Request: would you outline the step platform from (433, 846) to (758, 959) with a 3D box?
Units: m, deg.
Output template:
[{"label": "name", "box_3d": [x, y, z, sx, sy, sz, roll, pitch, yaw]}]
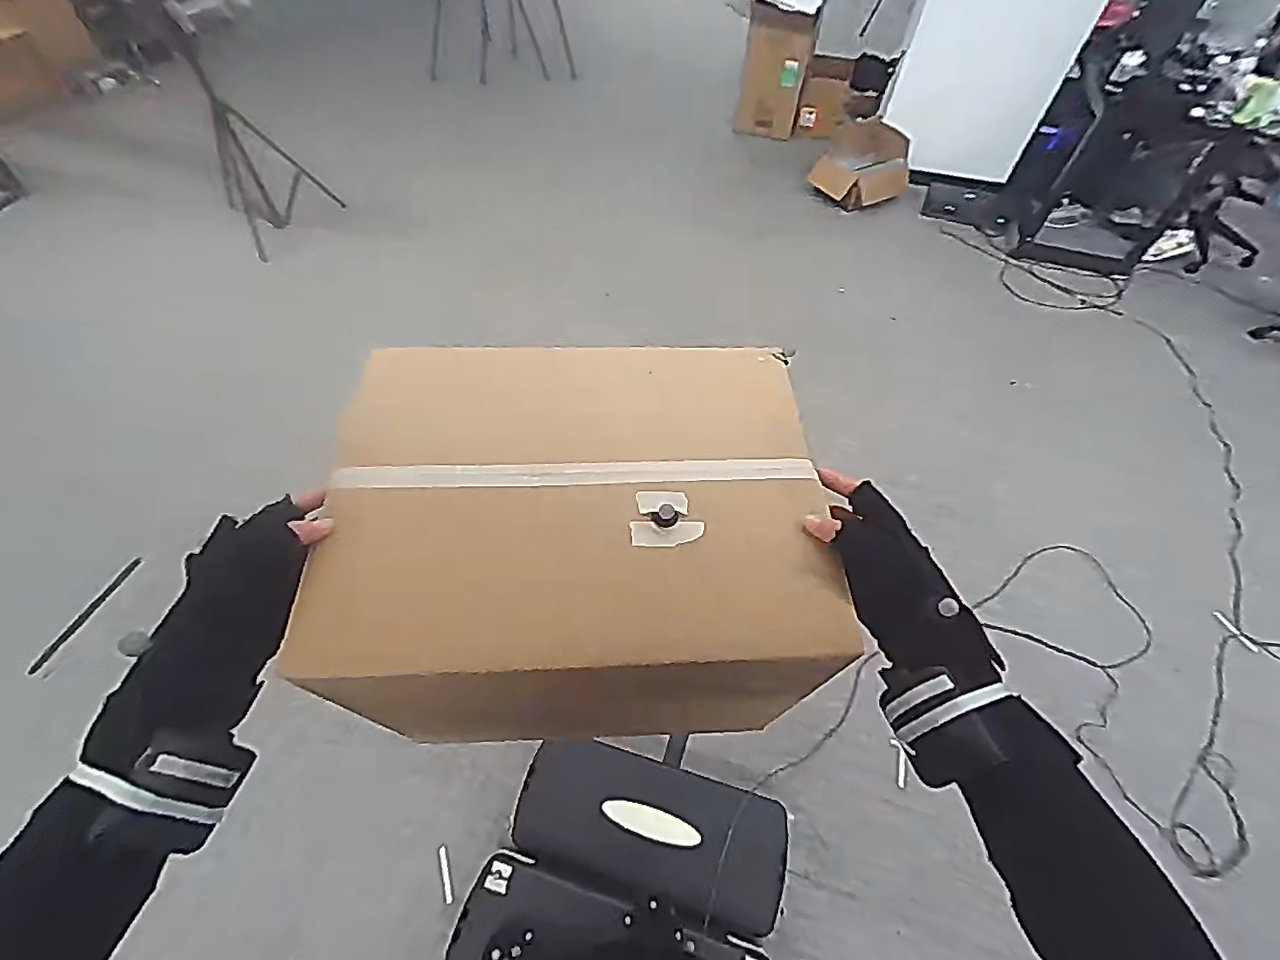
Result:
[{"label": "step platform", "box_3d": [-0.094, 1.056, 1.164, 0.684, 0.204, 0.286, 13, 55, 9]}]

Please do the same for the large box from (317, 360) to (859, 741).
[{"label": "large box", "box_3d": [-0.048, 0.086, 0.595, 0.408, 0.320, 0.320, 0, 57, -4]}]
